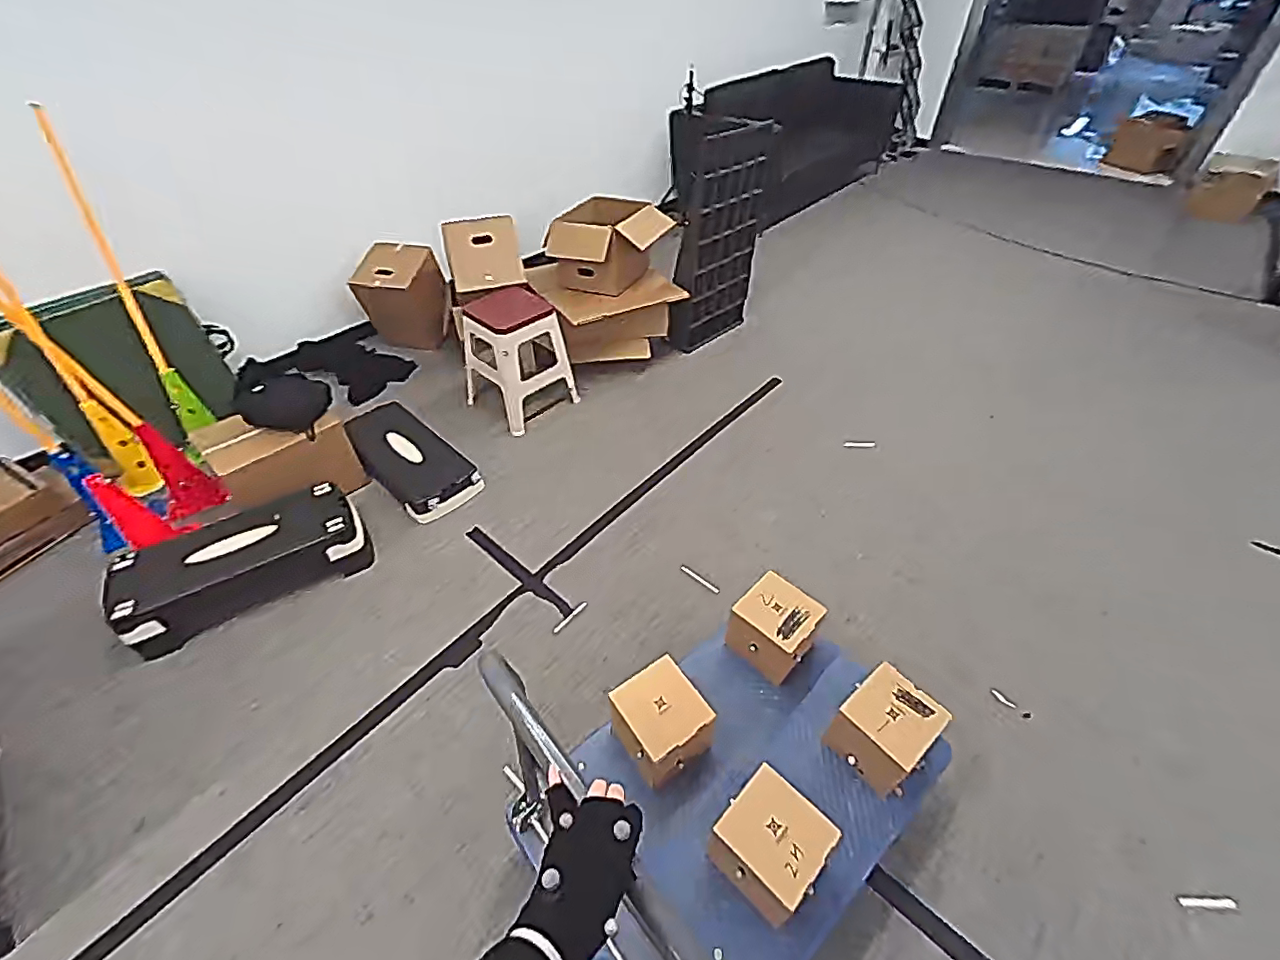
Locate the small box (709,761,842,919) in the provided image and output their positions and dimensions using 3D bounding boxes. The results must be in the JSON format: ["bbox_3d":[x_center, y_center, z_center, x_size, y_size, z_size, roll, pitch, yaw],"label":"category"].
[{"bbox_3d":[0.251,0.693,1.039,0.168,0.176,0.179,-34,53,-30],"label":"small box"}]

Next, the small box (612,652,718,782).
[{"bbox_3d":[0.049,0.530,1.208,0.168,0.176,0.179,-25,51,-25],"label":"small box"}]

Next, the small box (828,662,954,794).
[{"bbox_3d":[0.543,0.546,1.193,0.179,0.176,0.168,-30,51,-26],"label":"small box"}]
